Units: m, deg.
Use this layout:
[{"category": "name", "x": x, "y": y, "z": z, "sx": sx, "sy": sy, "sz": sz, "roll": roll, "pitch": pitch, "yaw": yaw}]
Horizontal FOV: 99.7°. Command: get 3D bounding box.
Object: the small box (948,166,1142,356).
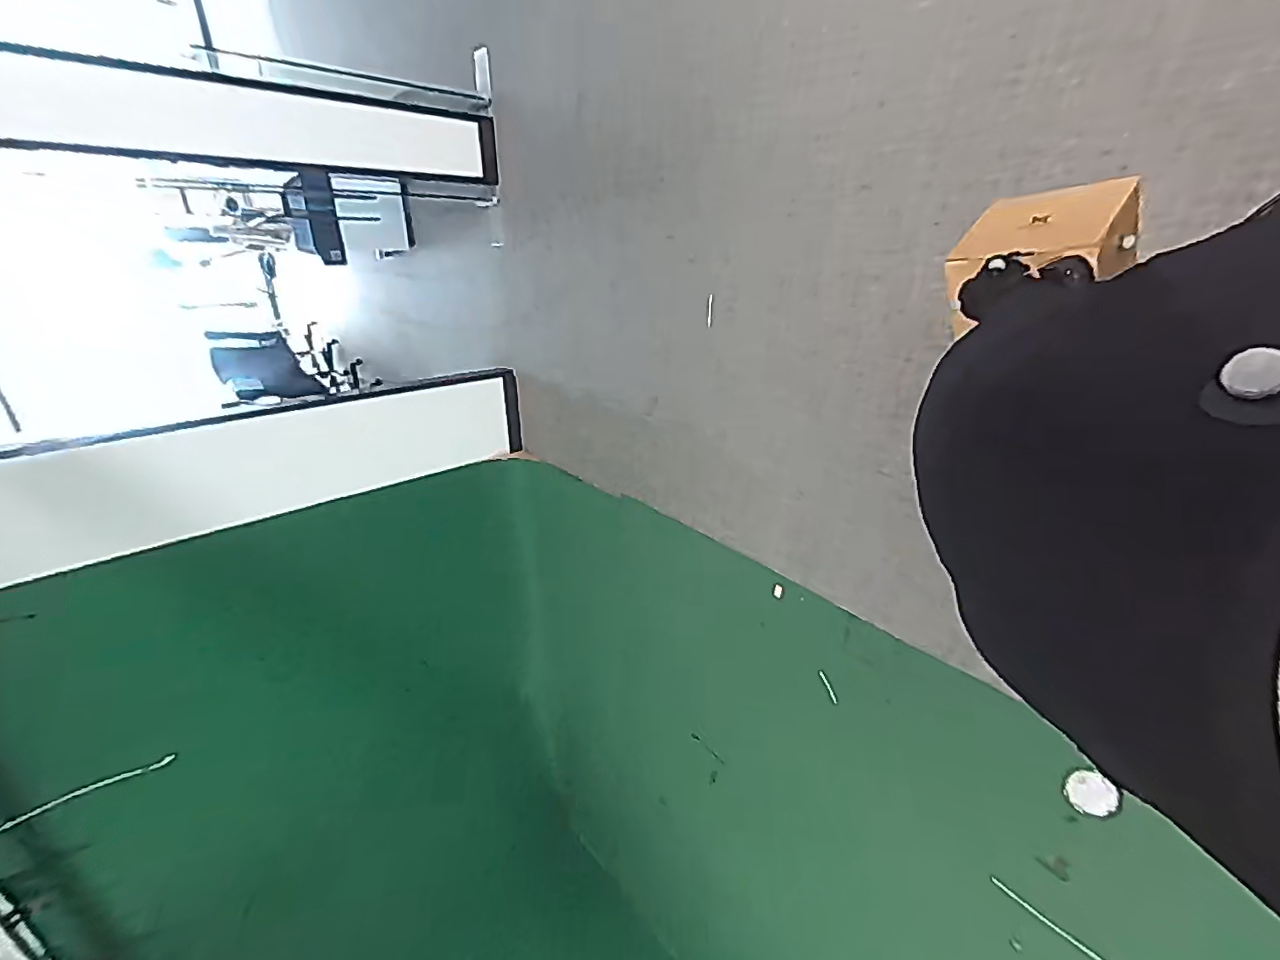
[{"category": "small box", "x": 0.556, "y": -0.293, "z": 0.748, "sx": 0.168, "sy": 0.179, "sz": 0.176, "roll": 16, "pitch": 145, "yaw": 49}]
